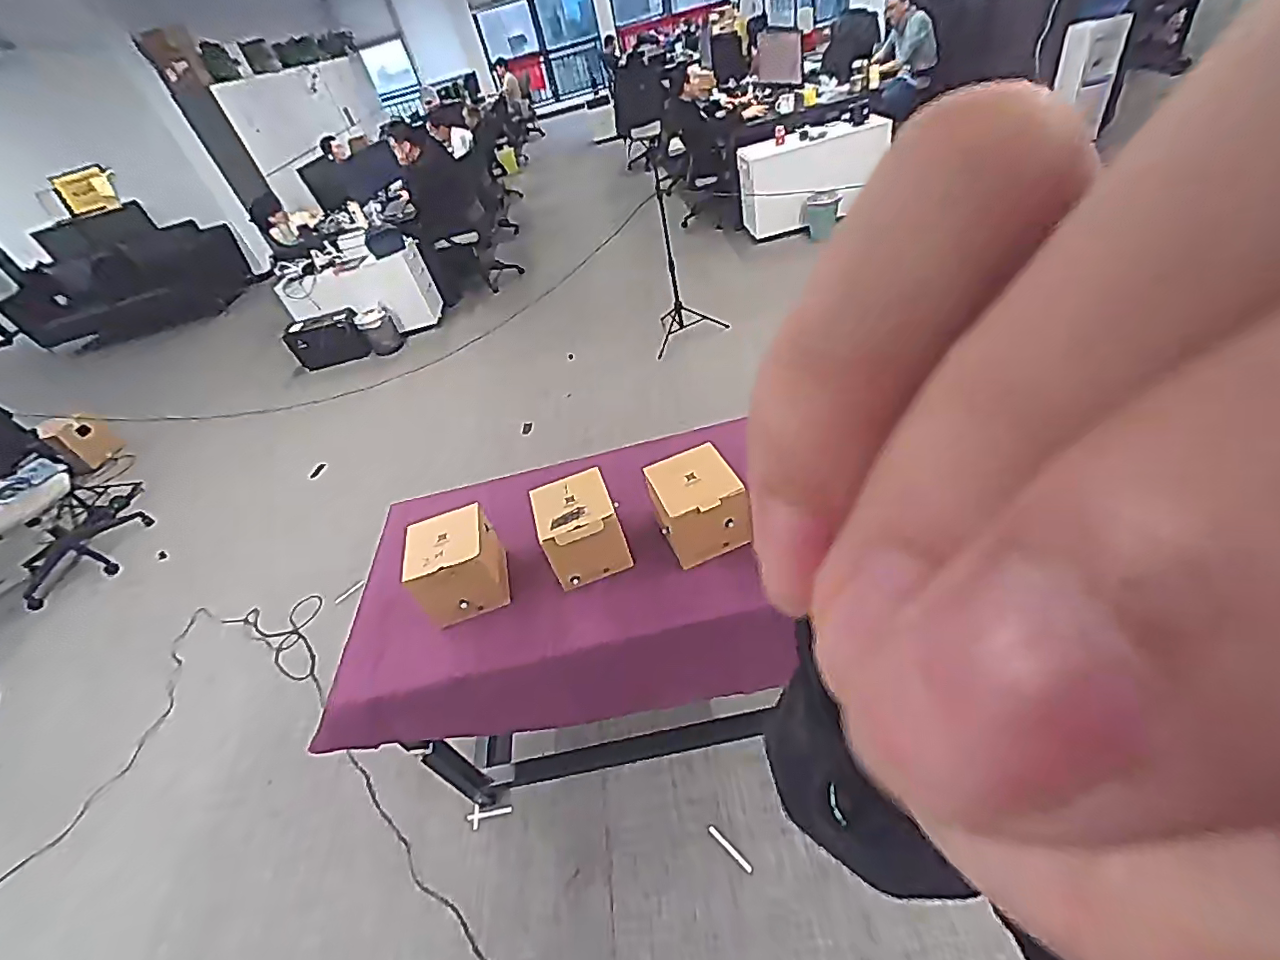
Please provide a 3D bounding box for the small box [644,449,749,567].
[{"bbox_3d":[0.126,0.069,1.187,0.168,0.176,0.179,-22,40,-6],"label":"small box"}]

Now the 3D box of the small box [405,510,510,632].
[{"bbox_3d":[-0.401,0.204,1.208,0.168,0.176,0.179,-19,41,-3],"label":"small box"}]

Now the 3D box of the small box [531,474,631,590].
[{"bbox_3d":[-0.130,0.122,1.210,0.168,0.176,0.179,-20,40,-5],"label":"small box"}]
